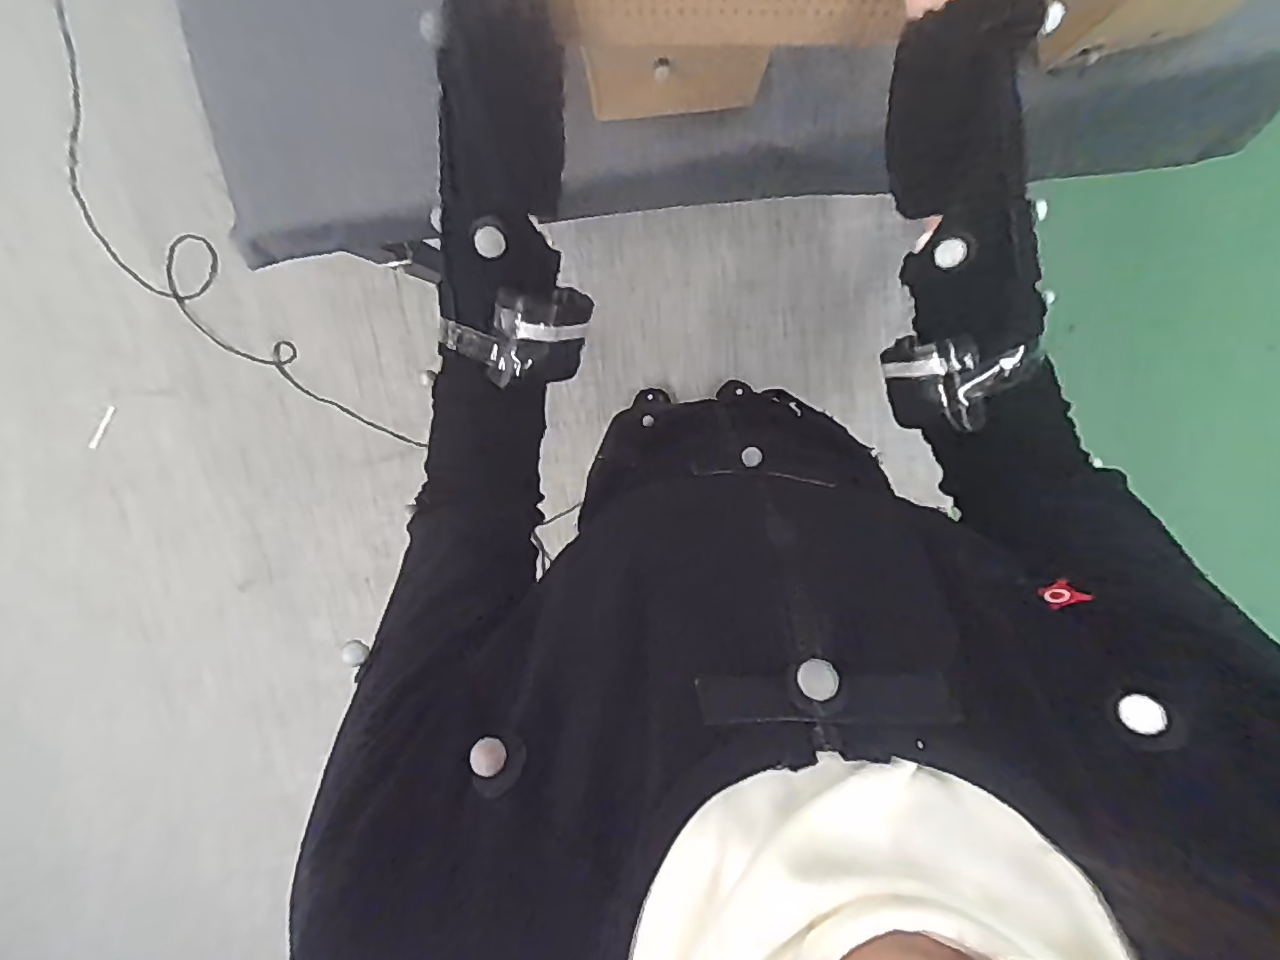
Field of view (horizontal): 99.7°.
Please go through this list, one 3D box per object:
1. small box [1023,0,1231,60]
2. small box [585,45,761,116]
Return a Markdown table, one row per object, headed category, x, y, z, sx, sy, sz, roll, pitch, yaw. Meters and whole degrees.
| category | x | y | z | sx | sy | sz | roll | pitch | yaw |
| --- | --- | --- | --- | --- | --- | --- | --- | --- | --- |
| small box | 0.484 | -0.527 | 0.493 | 0.168 | 0.176 | 0.179 | -11 | 99 | 5 |
| small box | 0.028 | -0.480 | 0.518 | 0.179 | 0.176 | 0.168 | -4 | 100 | 3 |
